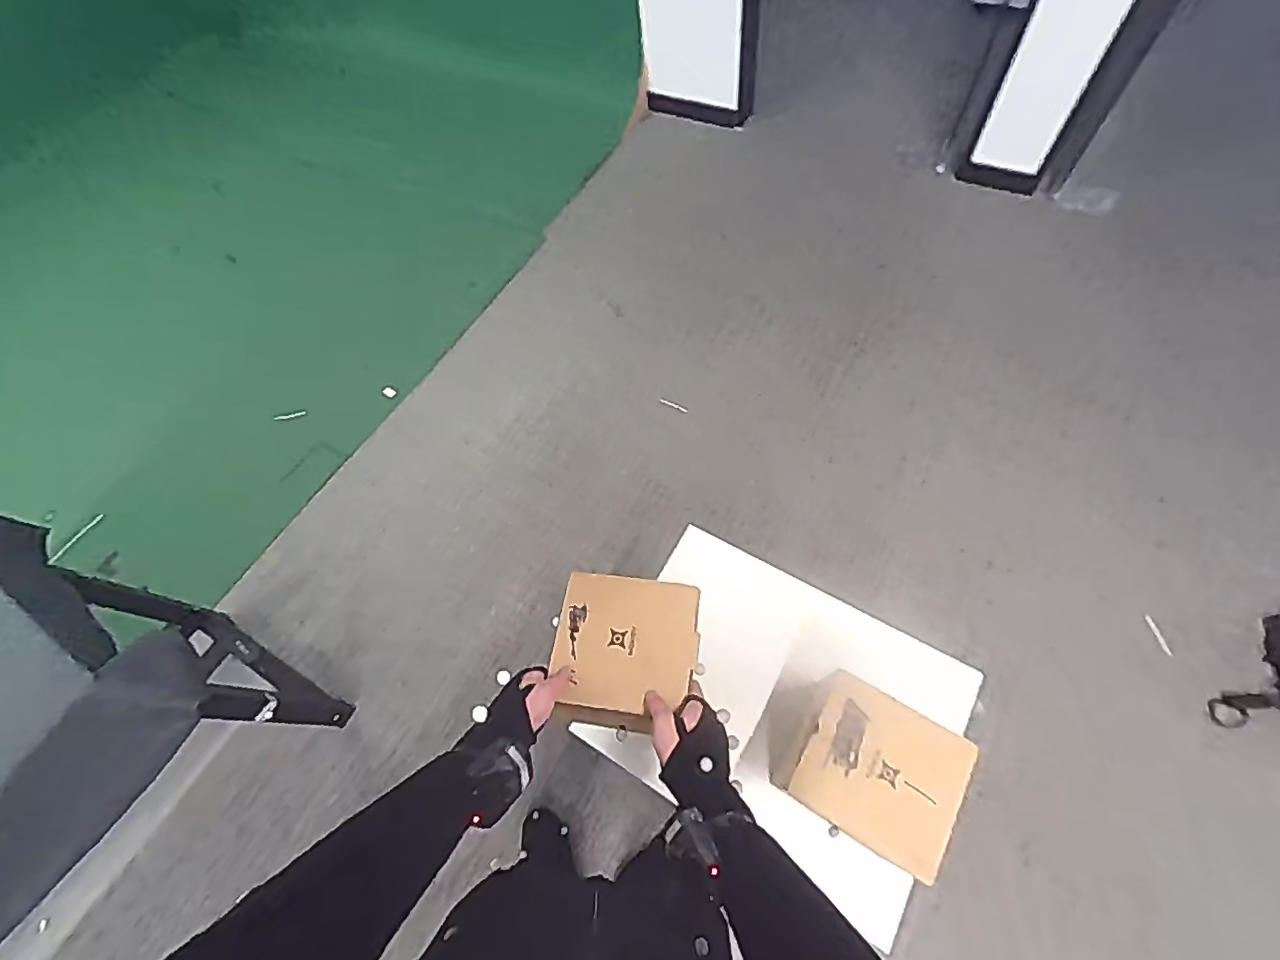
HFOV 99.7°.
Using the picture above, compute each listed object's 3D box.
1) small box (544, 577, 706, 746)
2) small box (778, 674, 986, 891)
[{"bbox_3d":[-0.013,0.246,0.716,0.179,0.176,0.168,6,57,5],"label":"small box"},{"bbox_3d":[0.299,0.382,0.703,0.179,0.176,0.168,27,68,17],"label":"small box"}]
